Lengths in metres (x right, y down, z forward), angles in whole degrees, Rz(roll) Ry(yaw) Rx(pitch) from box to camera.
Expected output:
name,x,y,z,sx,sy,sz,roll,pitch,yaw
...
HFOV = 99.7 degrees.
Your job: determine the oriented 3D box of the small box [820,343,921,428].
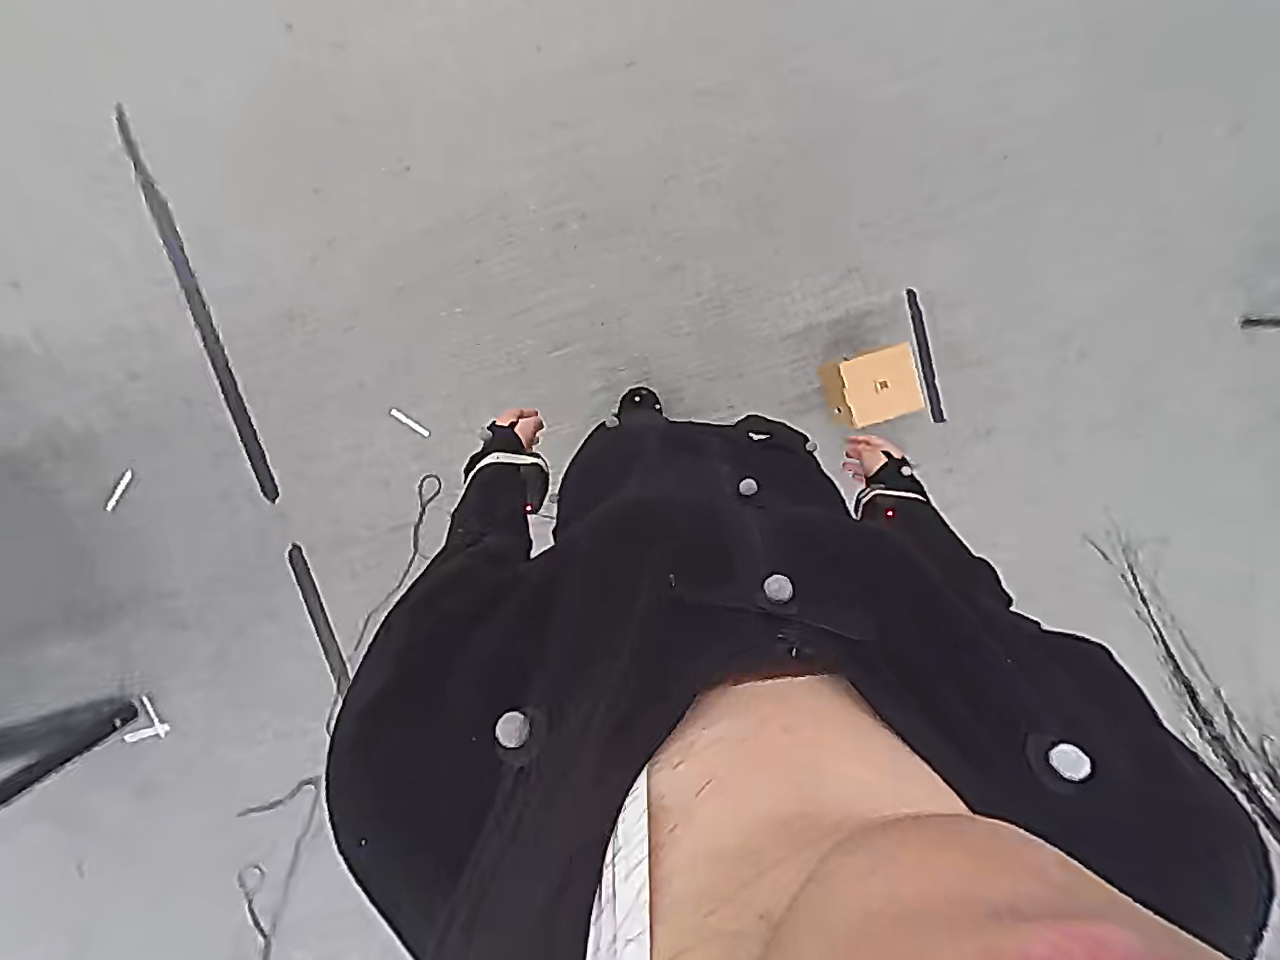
name,x,y,z,sx,sy,sz,roll,pitch,yaw
small box,0.576,-0.239,1.380,0.179,0.176,0.168,-18,100,3
